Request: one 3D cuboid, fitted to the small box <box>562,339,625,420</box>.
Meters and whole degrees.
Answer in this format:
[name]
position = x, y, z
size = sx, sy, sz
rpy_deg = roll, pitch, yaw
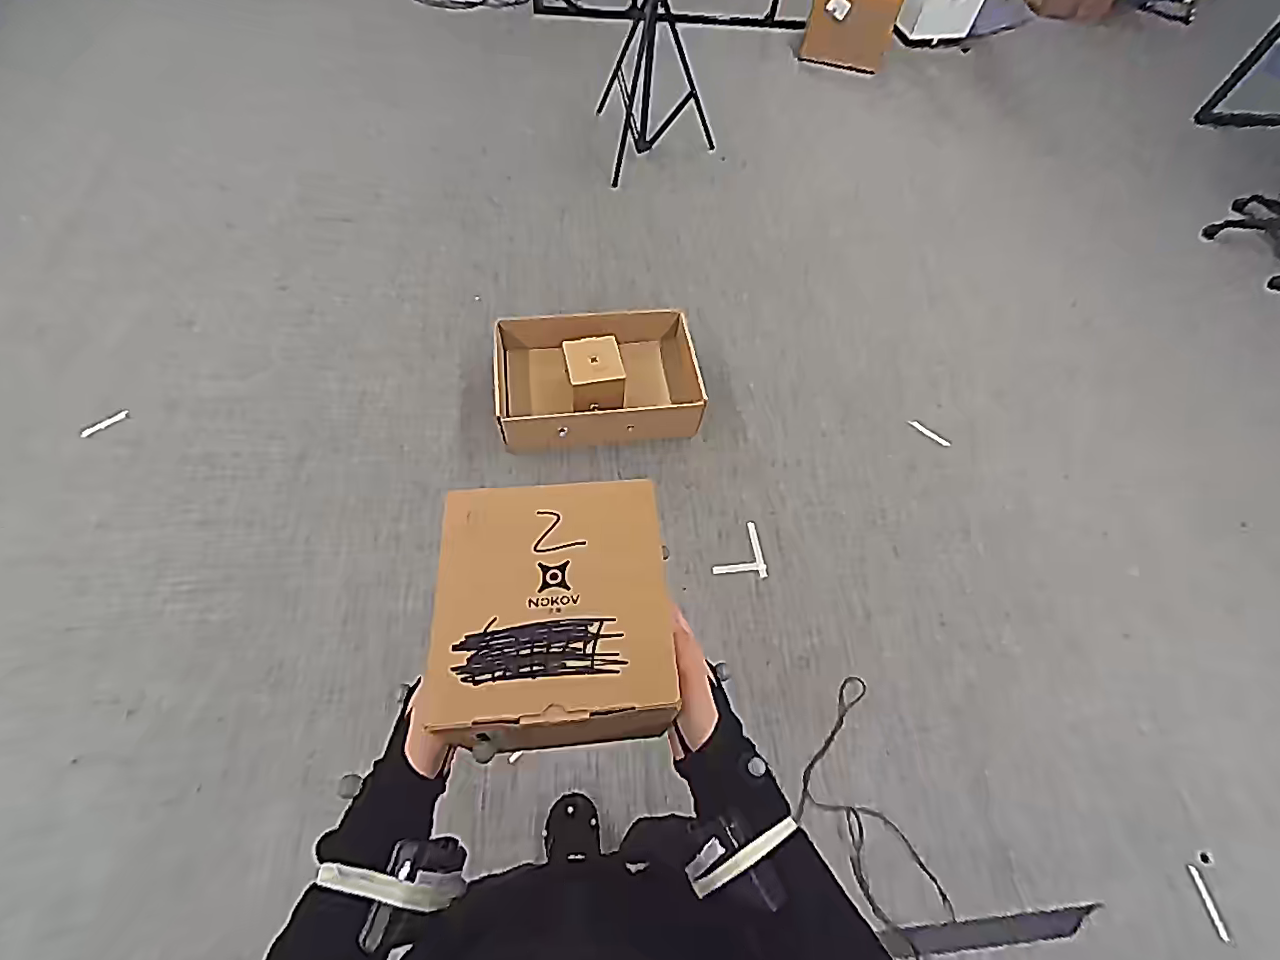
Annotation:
[small box]
position = -0.149, -0.314, 1.699
size = 0.168, 0.176, 0.179
rpy_deg = -11, 63, -10
